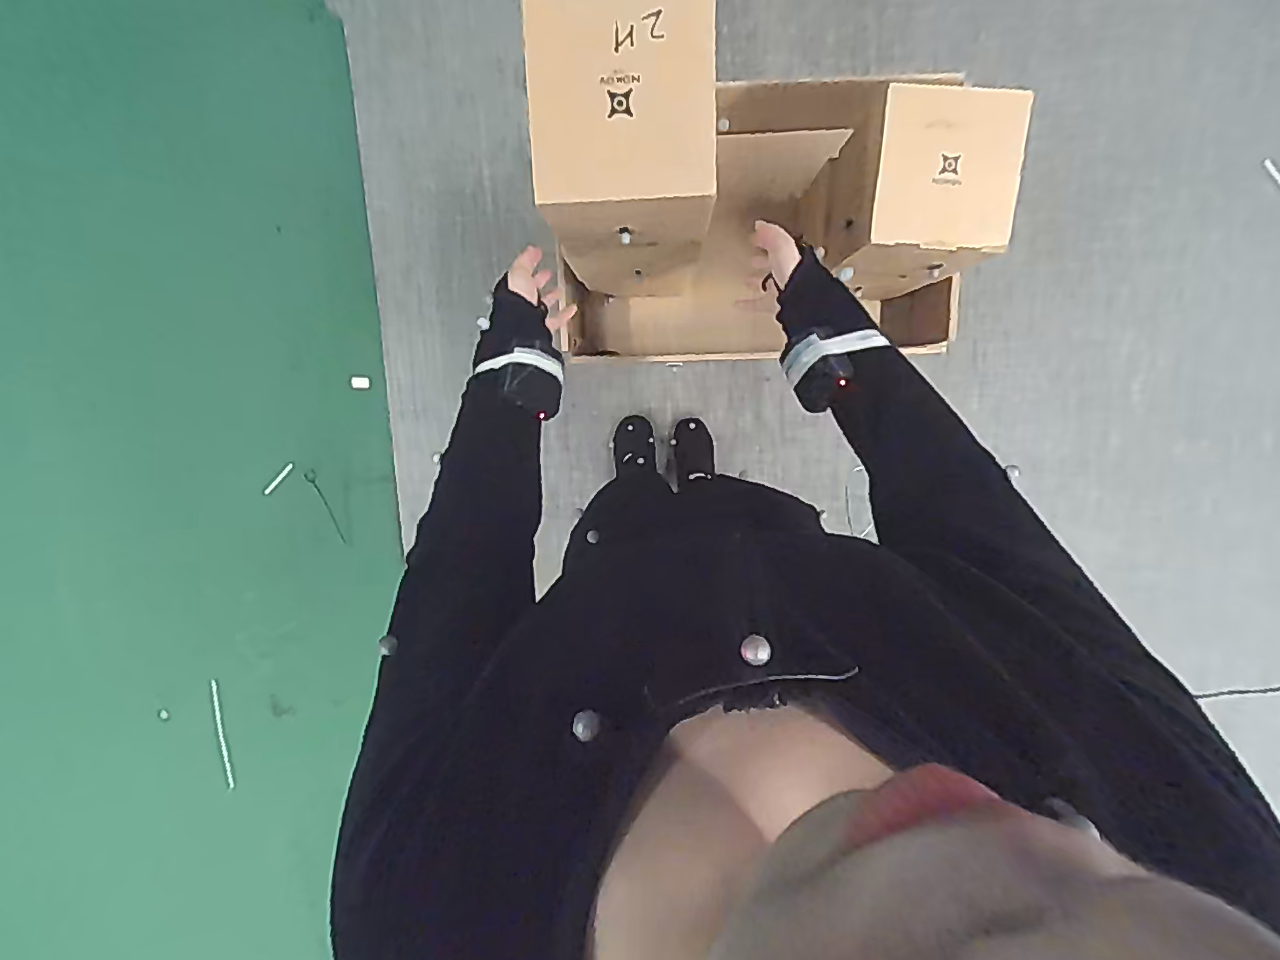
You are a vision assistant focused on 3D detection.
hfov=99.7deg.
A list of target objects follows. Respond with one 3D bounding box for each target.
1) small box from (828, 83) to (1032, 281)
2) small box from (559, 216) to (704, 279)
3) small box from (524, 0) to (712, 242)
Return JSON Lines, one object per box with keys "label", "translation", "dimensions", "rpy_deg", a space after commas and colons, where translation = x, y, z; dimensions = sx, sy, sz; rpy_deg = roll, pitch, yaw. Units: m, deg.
{"label": "small box", "translation": [0.356, -0.367, 0.699], "dimensions": [0.168, 0.176, 0.179], "rpy_deg": [5, 97, 1]}
{"label": "small box", "translation": [-0.010, -0.372, 0.717], "dimensions": [0.179, 0.176, 0.168], "rpy_deg": [-2, 97, 3]}
{"label": "small box", "translation": [-0.015, -0.353, 0.553], "dimensions": [0.168, 0.176, 0.179], "rpy_deg": [0, 98, 3]}
